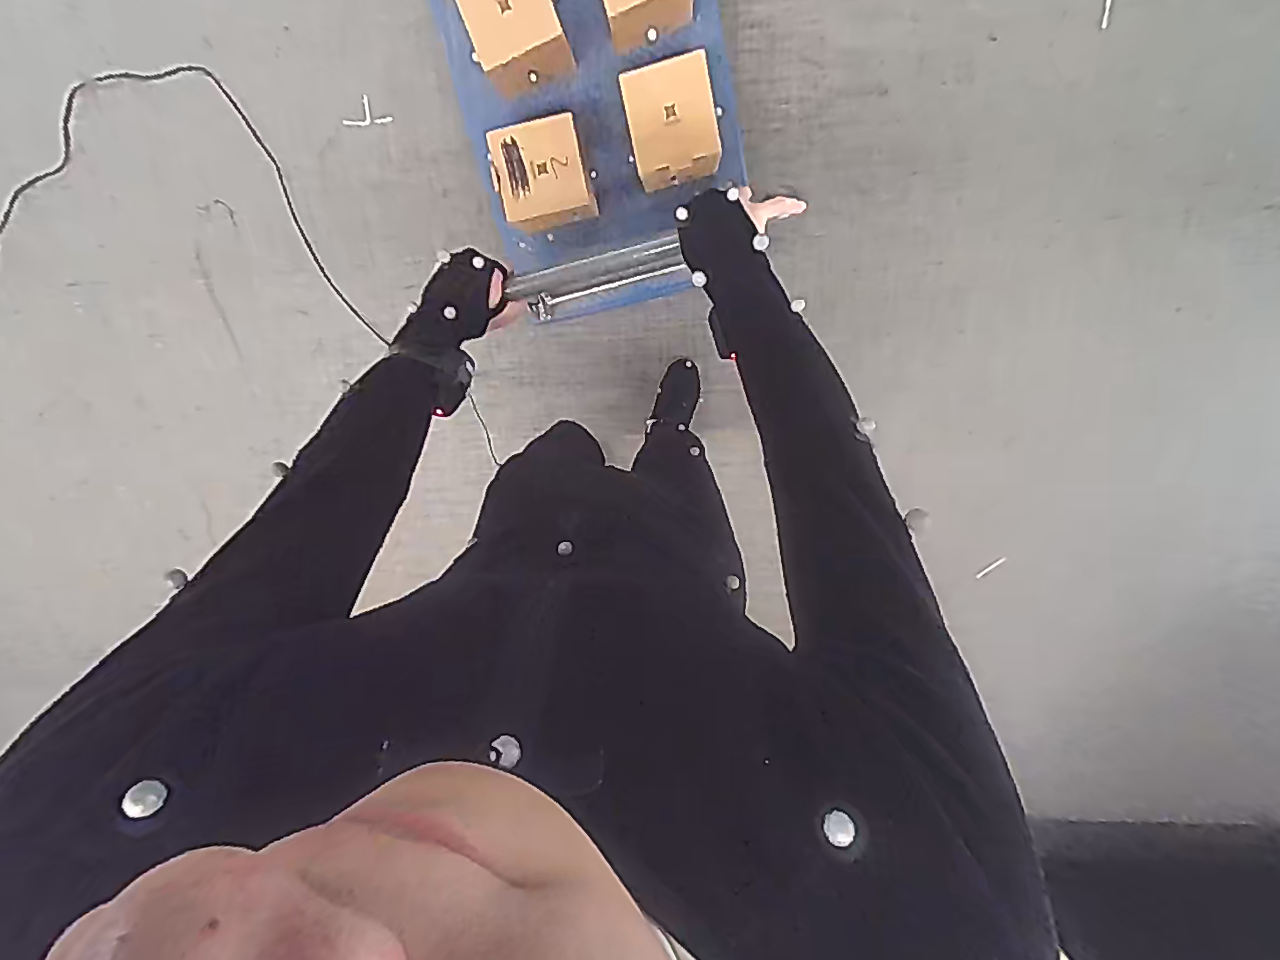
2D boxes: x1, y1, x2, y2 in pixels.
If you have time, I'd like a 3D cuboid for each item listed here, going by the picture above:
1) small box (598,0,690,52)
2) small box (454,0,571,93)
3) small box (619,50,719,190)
[{"bbox_3d":[-0.008,-0.968,1.021,0.168,0.176,0.179,-17,108,9],"label":"small box"},{"bbox_3d":[-0.249,-0.897,1.058,0.168,0.176,0.179,-19,106,8],"label":"small box"},{"bbox_3d":[0.059,-0.720,1.102,0.168,0.176,0.179,-12,107,7],"label":"small box"}]
